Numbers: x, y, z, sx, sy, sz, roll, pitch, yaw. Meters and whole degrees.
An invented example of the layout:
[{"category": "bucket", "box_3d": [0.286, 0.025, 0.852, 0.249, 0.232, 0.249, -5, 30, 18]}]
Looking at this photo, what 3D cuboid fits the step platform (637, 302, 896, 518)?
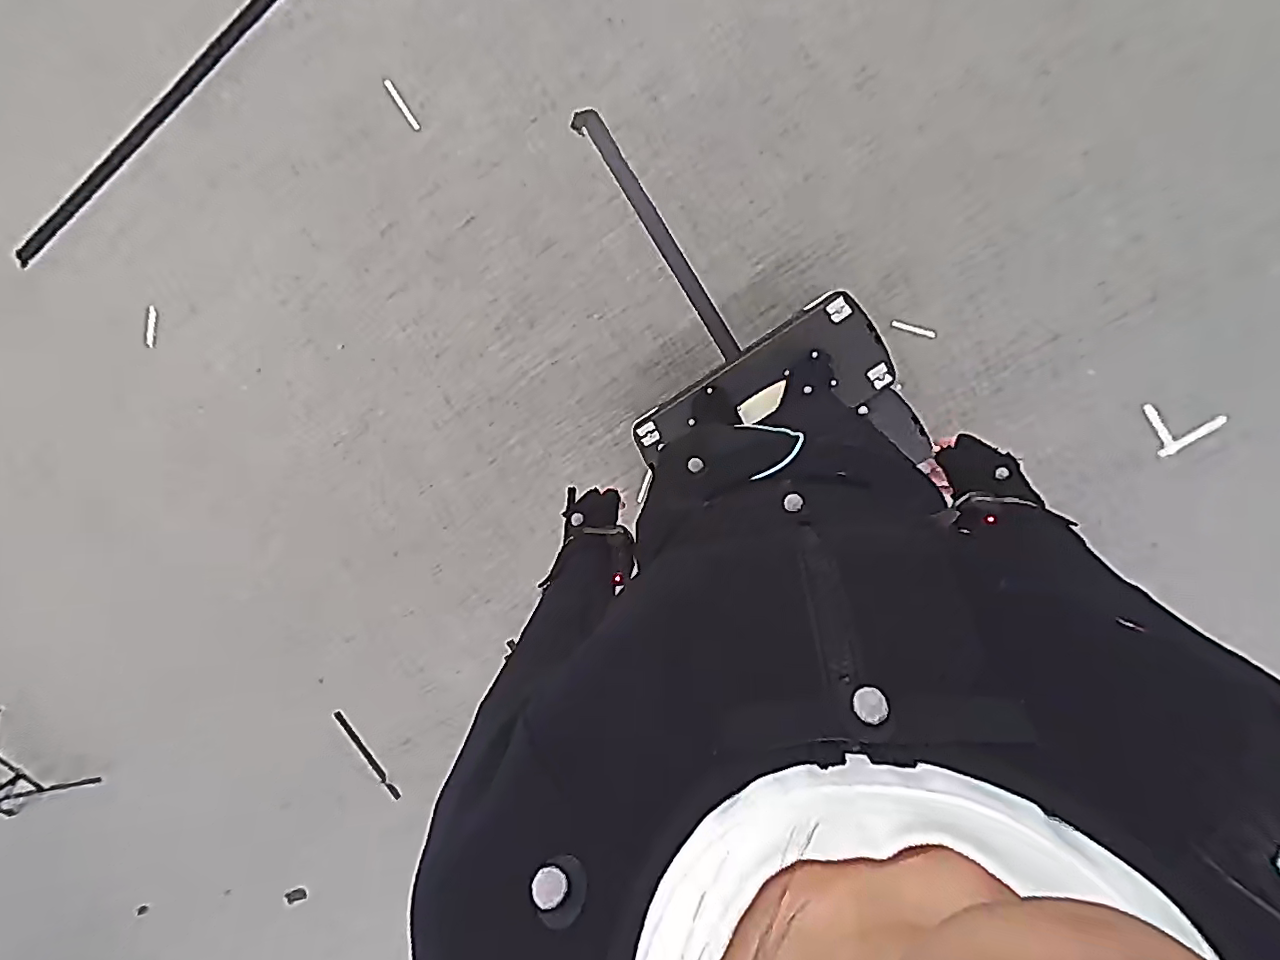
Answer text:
[{"category": "step platform", "box_3d": [0.327, -0.183, 1.487, 0.684, 0.204, 0.286, -34, 97, 11]}]
